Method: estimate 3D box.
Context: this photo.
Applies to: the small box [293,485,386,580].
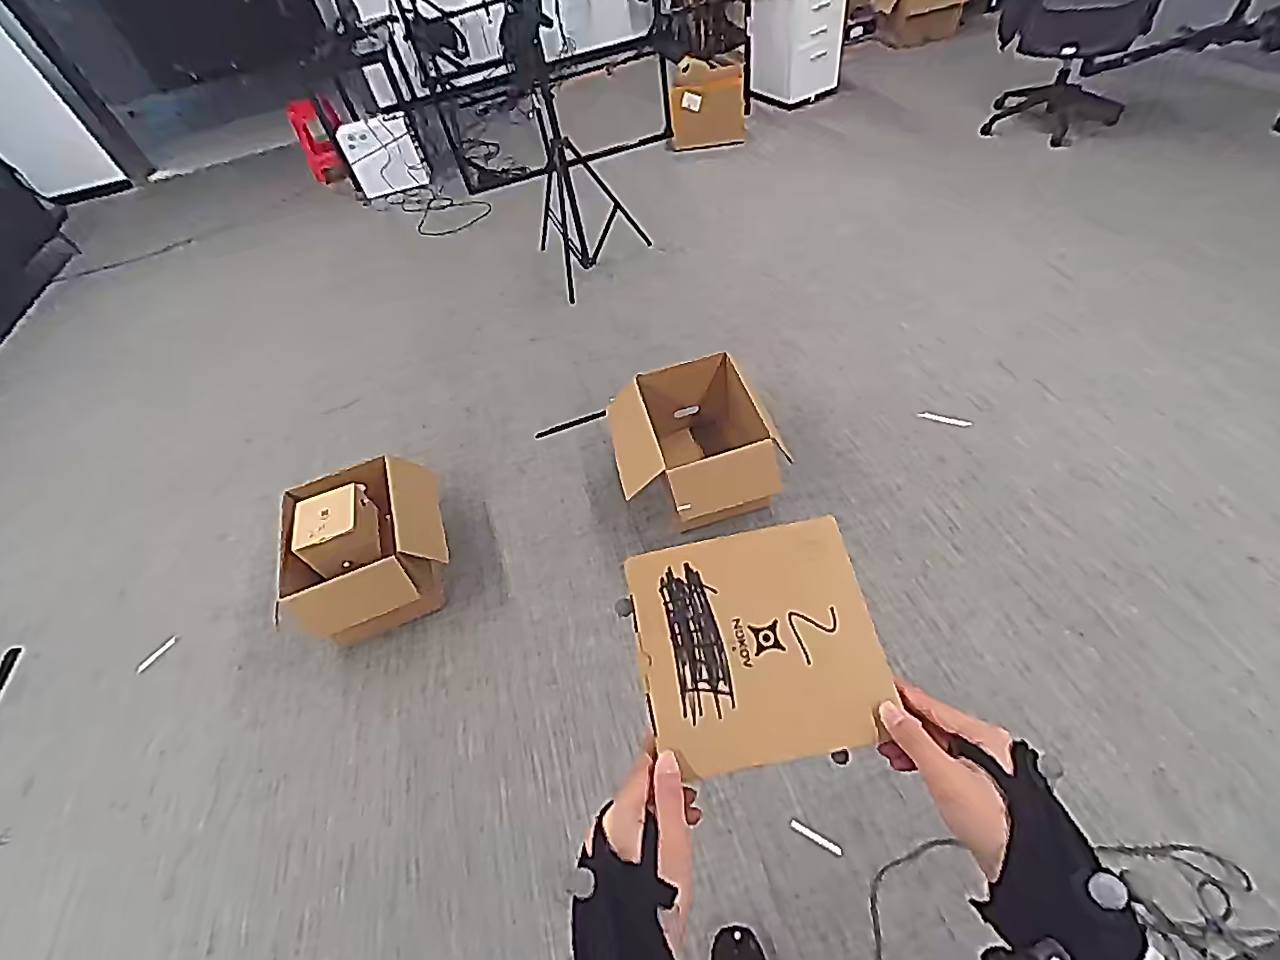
[{"bbox_3d":[-0.838,0.150,1.524,0.168,0.176,0.179,-20,51,-5],"label":"small box"}]
